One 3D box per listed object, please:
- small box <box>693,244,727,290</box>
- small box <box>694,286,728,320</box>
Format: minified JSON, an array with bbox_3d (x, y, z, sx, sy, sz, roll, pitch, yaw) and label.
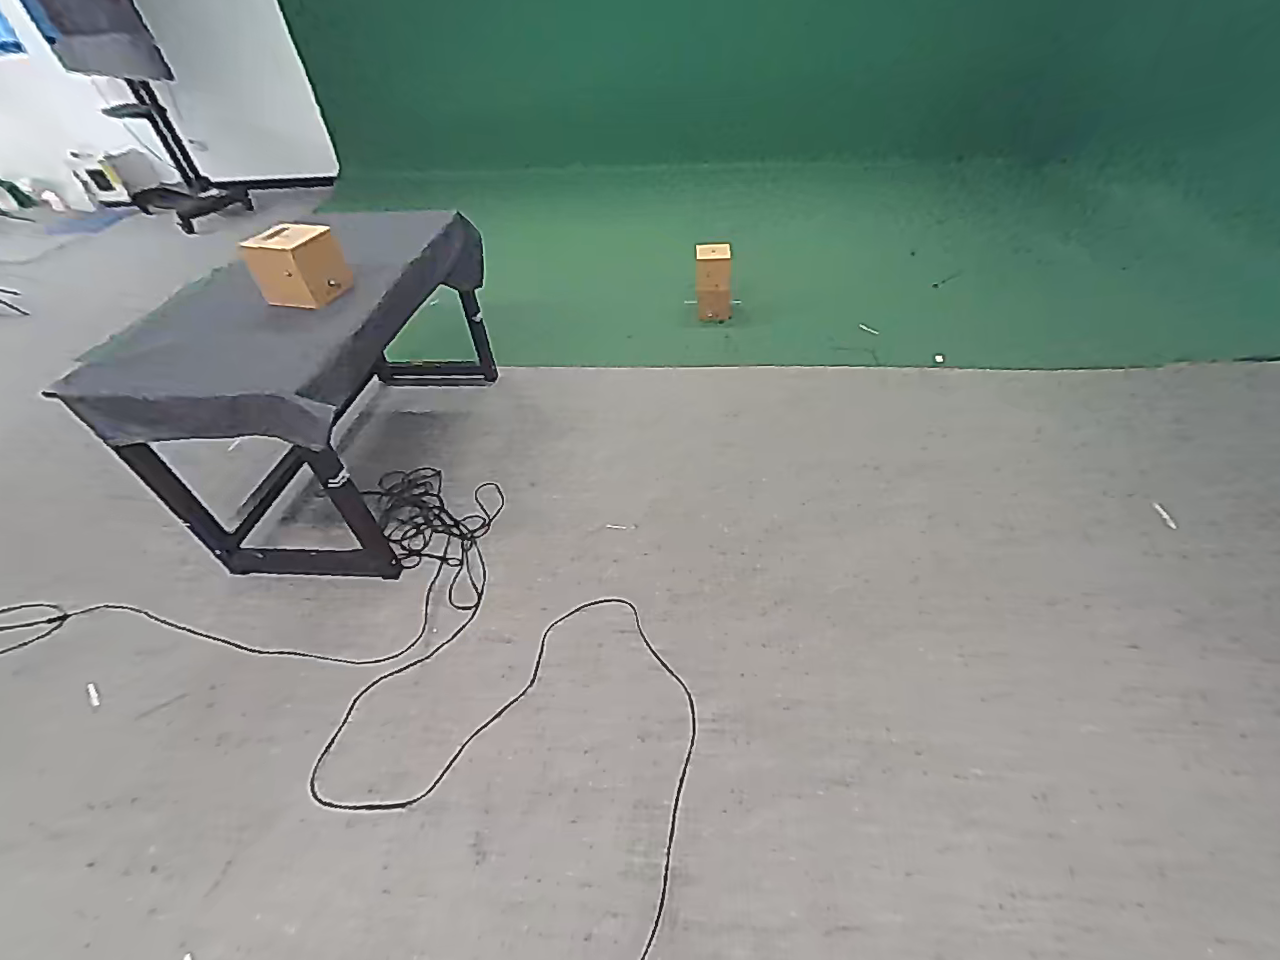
[{"bbox_3d":[0.352,-1.070,2.719,0.168,0.176,0.179,0,43,5],"label":"small box"},{"bbox_3d":[0.371,-0.956,2.835,0.168,0.176,0.179,0,45,6],"label":"small box"}]
